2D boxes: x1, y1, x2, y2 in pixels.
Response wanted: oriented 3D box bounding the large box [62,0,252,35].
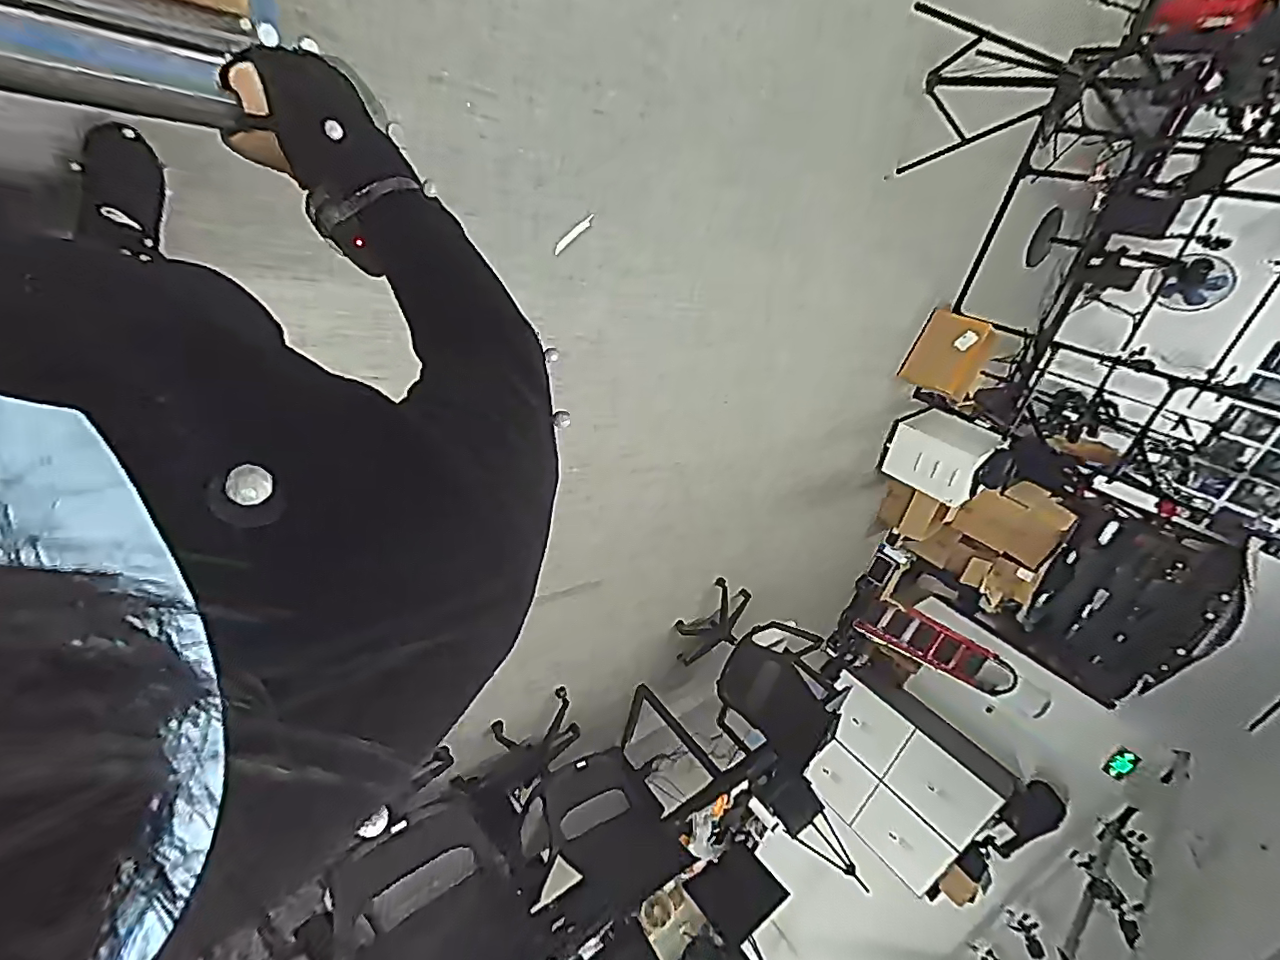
[{"bbox_3d":[-0.695,-0.713,0.556,0.408,0.320,0.320,-15,129,-40],"label":"large box"}]
